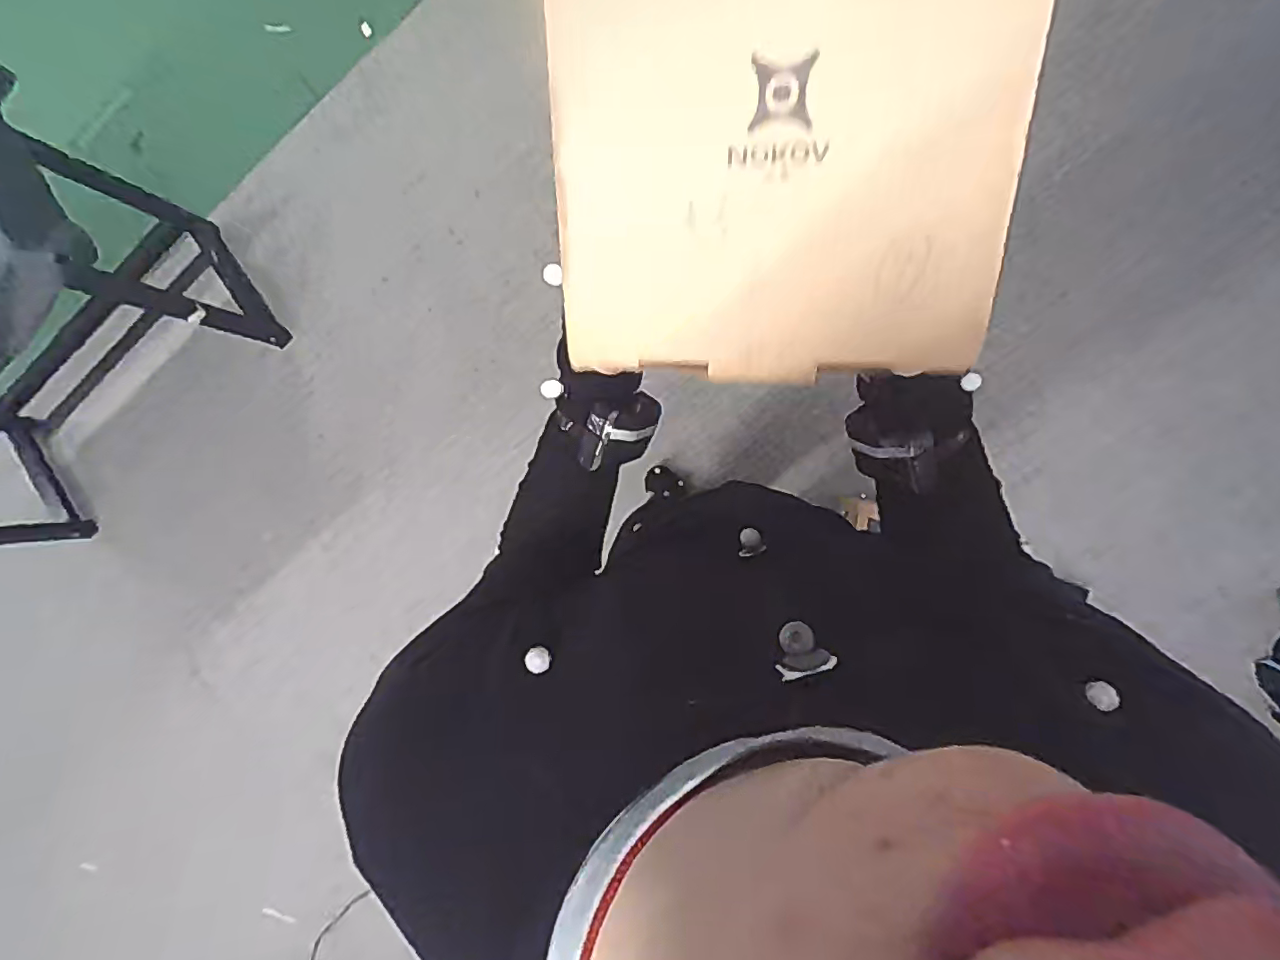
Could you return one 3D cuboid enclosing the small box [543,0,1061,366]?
[{"bbox_3d":[0.057,-0.158,0.258,0.168,0.176,0.179,1,112,6],"label":"small box"}]
